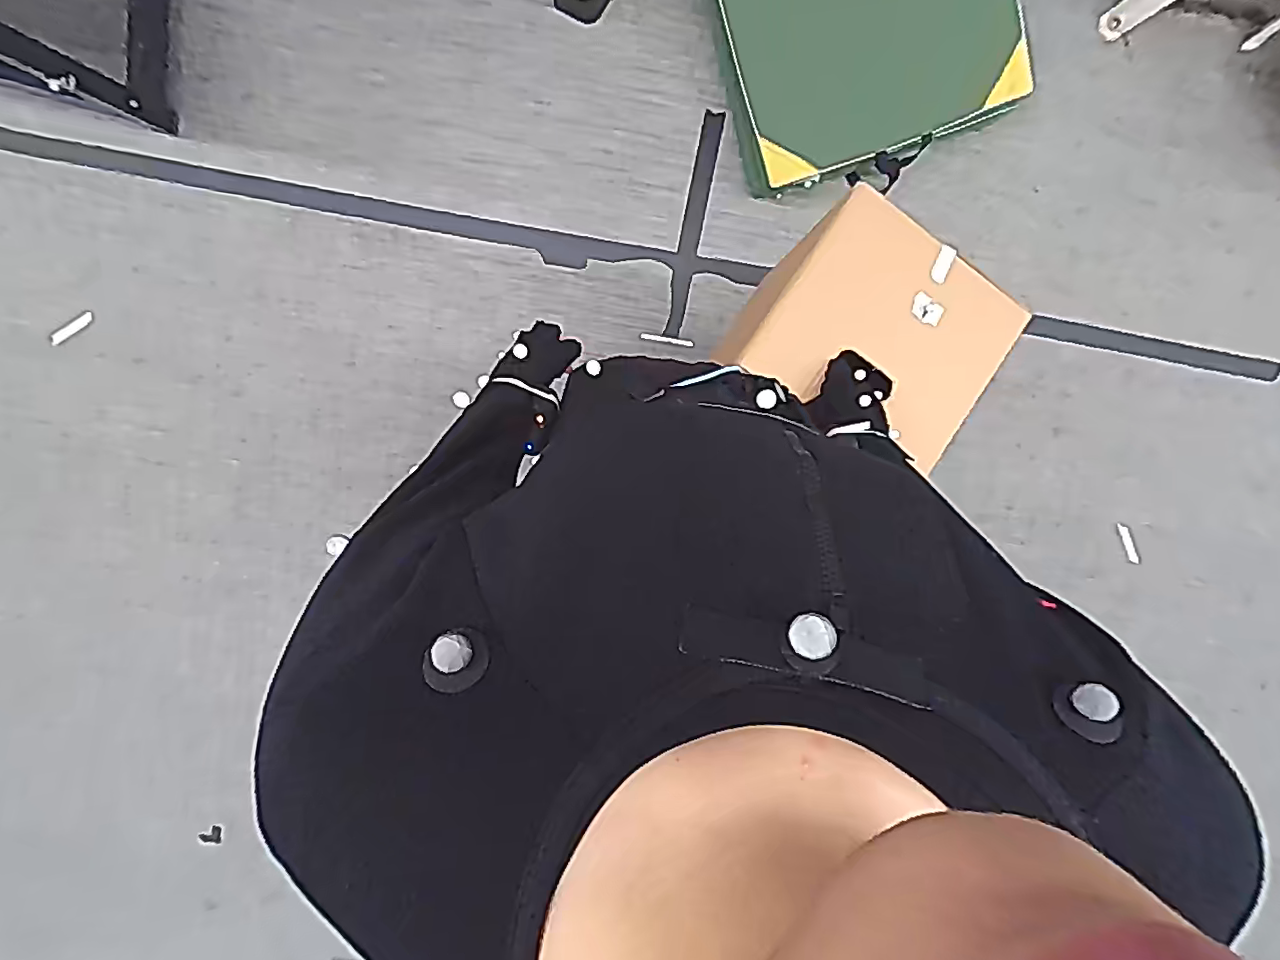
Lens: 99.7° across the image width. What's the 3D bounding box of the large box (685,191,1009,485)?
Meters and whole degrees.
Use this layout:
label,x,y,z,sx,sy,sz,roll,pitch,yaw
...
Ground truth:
label,x,y,z,sx,sy,sz,roll,pitch,yaw
large box,0.316,-0.205,0.952,0.320,0.408,0.320,36,88,-5
